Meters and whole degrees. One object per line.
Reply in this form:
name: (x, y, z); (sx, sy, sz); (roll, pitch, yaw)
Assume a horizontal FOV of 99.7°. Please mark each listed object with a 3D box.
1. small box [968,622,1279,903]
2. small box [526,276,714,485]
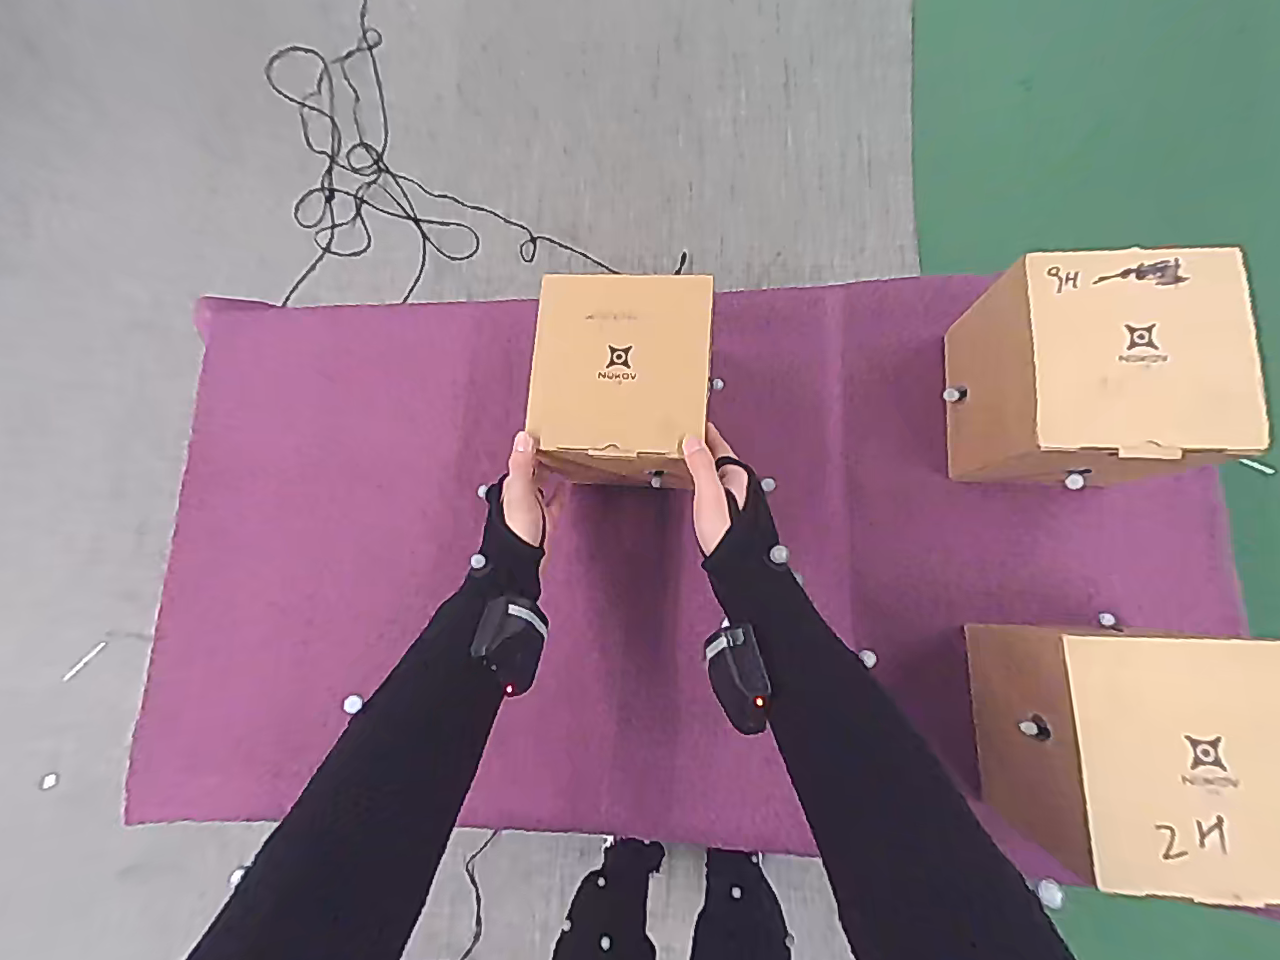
small box: (0.406, 0.217, 0.463); (0.168, 0.176, 0.179); (0, 78, 9)
small box: (-0.008, -0.094, 0.579); (0.168, 0.176, 0.179); (4, 80, 7)
